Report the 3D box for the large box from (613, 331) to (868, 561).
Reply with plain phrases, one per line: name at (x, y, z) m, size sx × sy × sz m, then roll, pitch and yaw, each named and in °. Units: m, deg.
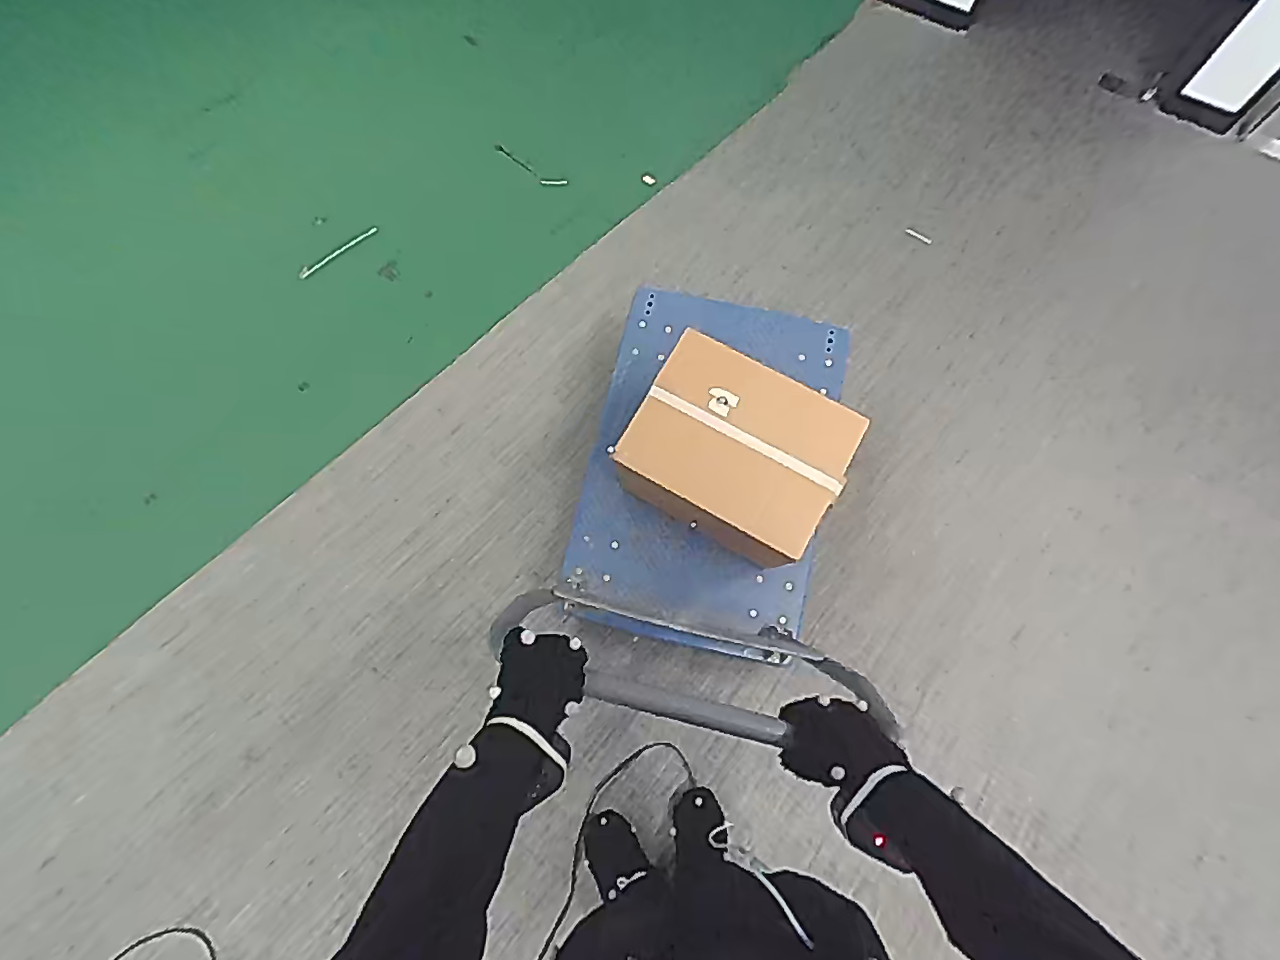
large box at (0.203, -0.052, 1.179) m, size 0.408 × 0.320 × 0.320 m, roll 28°, pitch 81°, yaw 9°
